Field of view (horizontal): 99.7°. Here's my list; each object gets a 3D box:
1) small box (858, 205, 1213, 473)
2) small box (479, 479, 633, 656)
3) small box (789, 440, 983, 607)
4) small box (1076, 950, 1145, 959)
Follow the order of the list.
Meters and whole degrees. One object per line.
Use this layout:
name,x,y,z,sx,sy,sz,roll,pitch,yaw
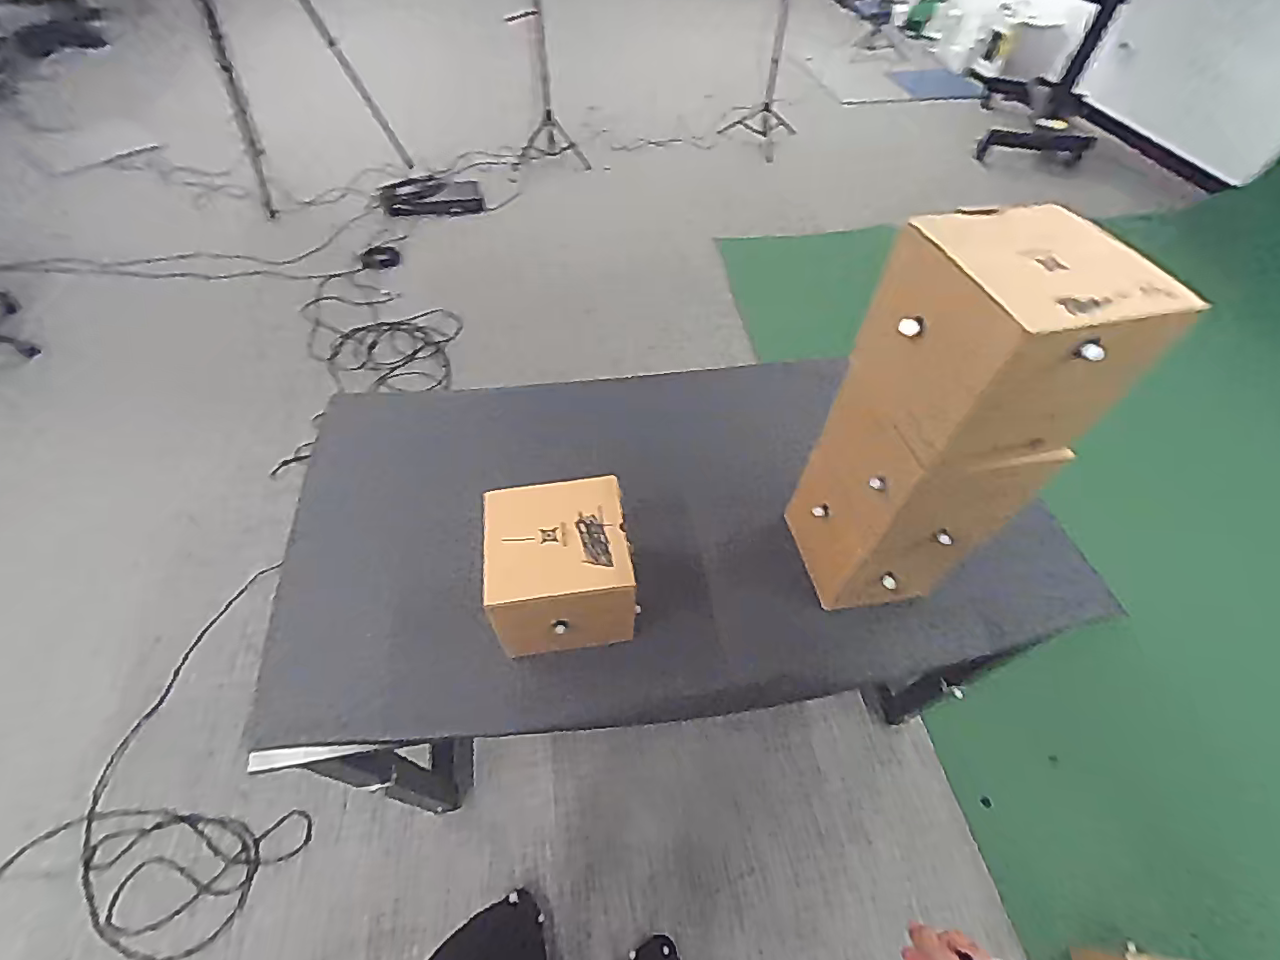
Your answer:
small box,0.337,-0.132,0.511,0.168,0.176,0.179,-10,53,-8
small box,-0.107,0.119,0.720,0.179,0.176,0.168,-7,53,-6
small box,0.332,0.068,0.772,0.168,0.176,0.179,-7,53,-7
small box,0.963,1.002,1.007,0.179,0.176,0.168,6,54,3
